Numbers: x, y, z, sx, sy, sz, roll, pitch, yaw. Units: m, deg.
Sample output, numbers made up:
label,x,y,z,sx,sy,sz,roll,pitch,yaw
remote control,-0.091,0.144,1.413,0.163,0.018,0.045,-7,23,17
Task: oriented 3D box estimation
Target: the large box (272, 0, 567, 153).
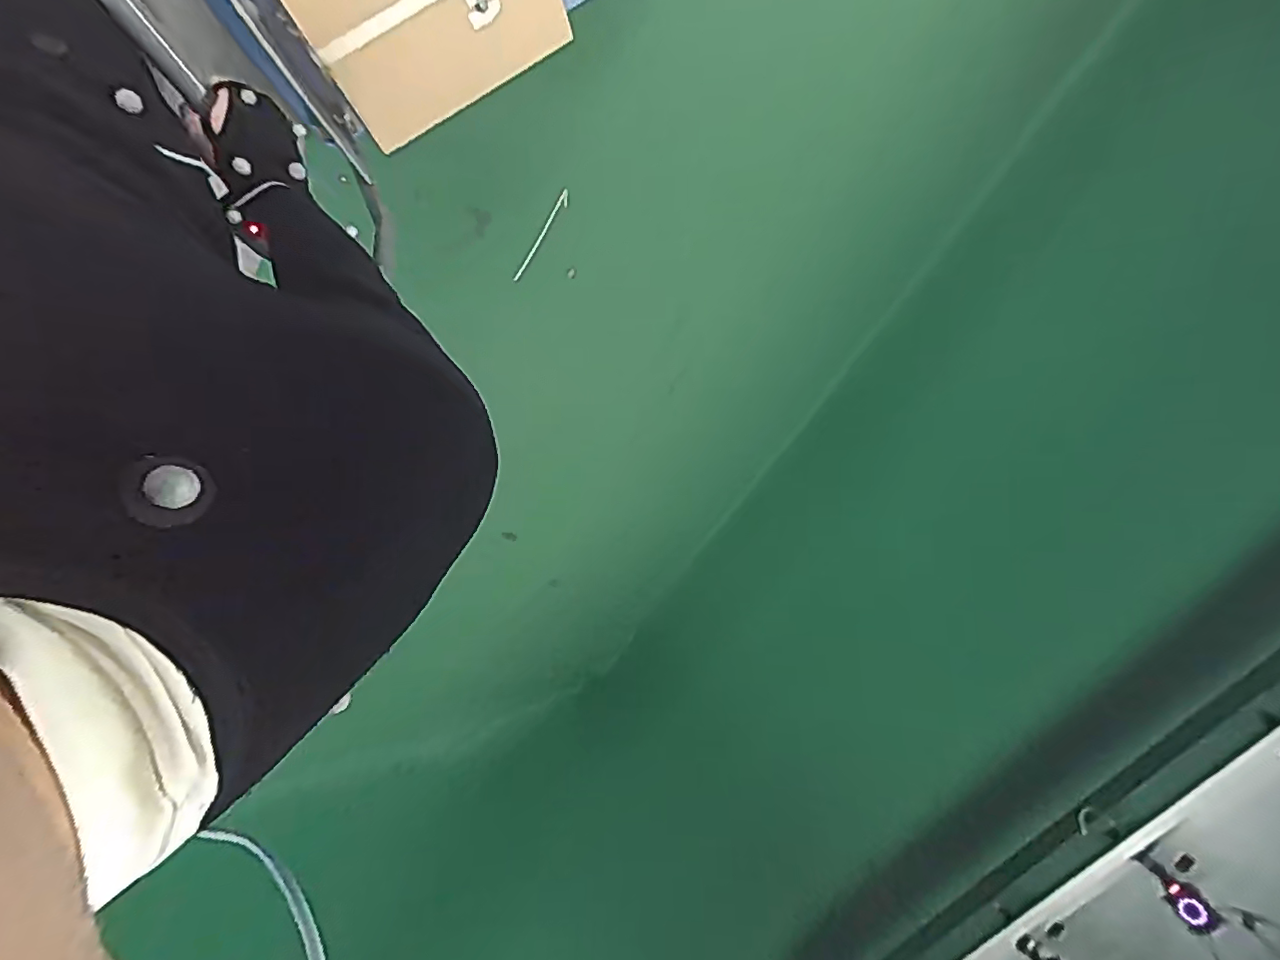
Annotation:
label,x,y,z,sx,sy,sz,roll,pitch,yaw
large box,-0.408,-0.857,0.924,0.408,0.320,0.320,-35,147,-5
